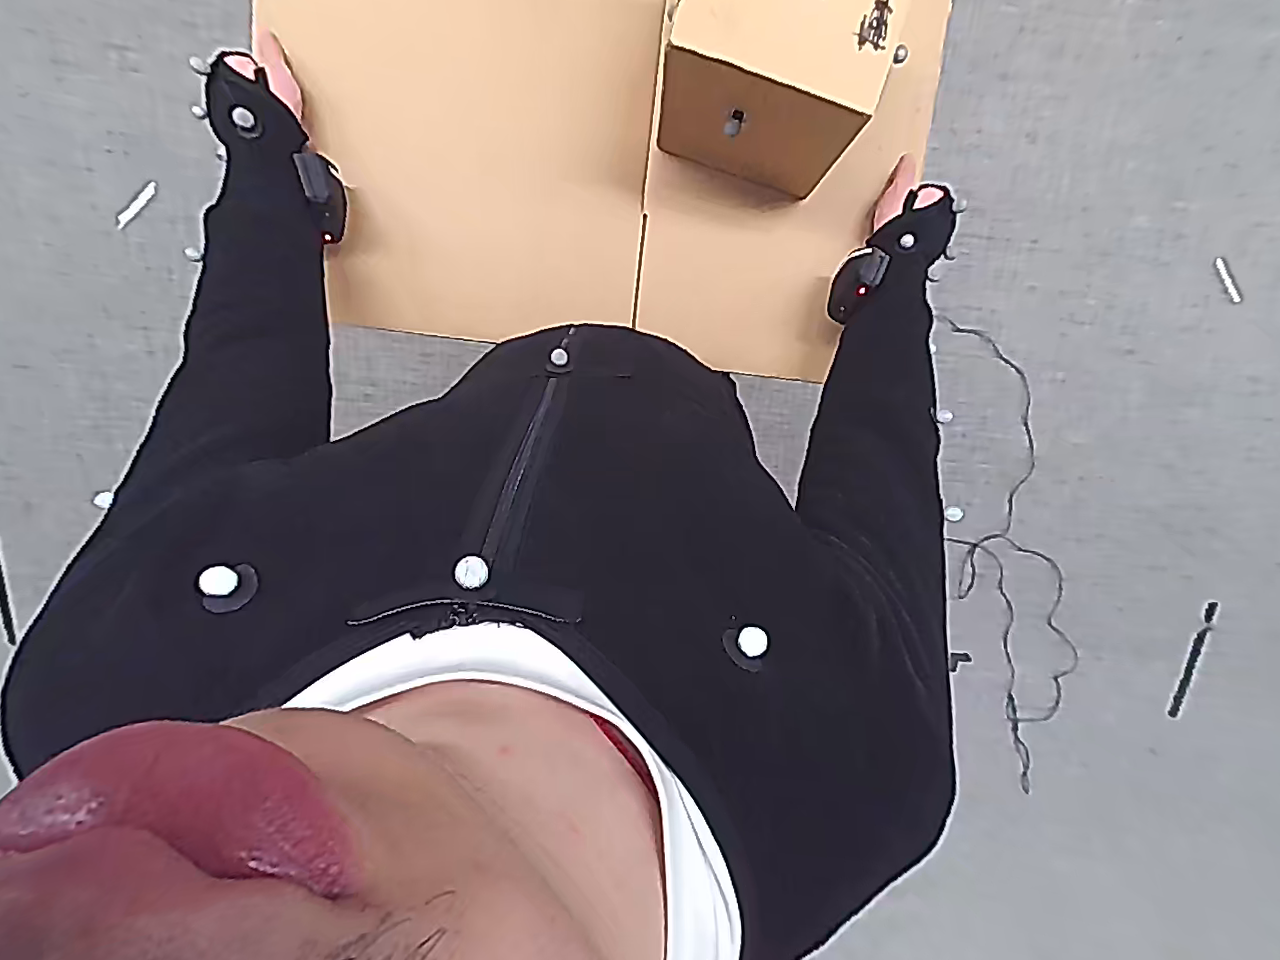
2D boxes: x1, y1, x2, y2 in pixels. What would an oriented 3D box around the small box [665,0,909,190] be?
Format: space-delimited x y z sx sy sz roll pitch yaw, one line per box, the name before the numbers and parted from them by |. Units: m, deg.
small box | 0.128 -0.404 0.505 0.179 0.176 0.168 17 97 -2
